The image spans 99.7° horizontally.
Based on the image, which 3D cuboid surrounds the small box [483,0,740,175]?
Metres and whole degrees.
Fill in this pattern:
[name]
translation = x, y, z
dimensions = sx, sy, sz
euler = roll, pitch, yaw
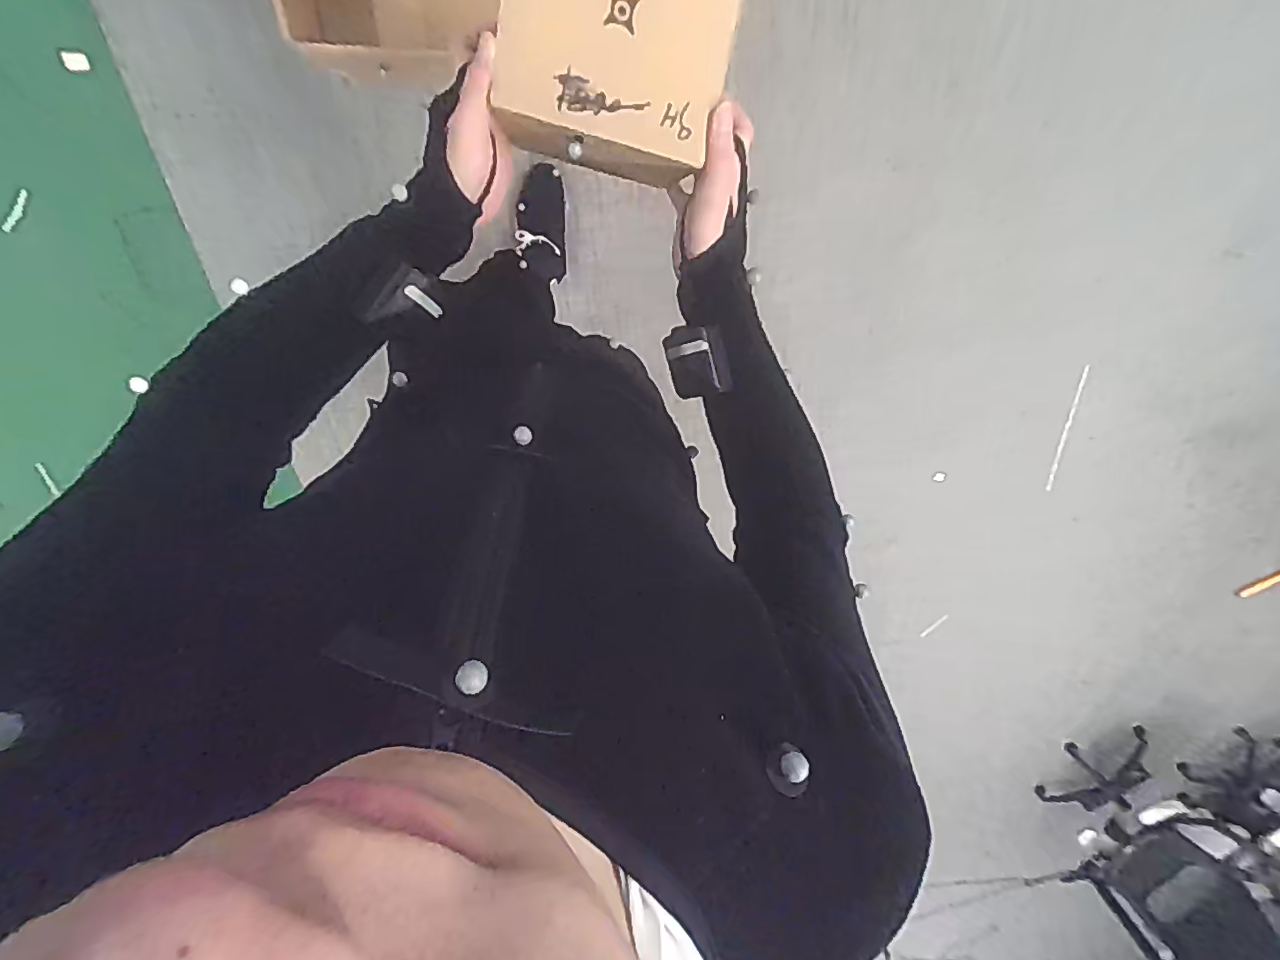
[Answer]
[small box]
translation = -0.023, -0.369, 0.432
dimensions = 0.168, 0.176, 0.179
euler = 9, 111, -12
